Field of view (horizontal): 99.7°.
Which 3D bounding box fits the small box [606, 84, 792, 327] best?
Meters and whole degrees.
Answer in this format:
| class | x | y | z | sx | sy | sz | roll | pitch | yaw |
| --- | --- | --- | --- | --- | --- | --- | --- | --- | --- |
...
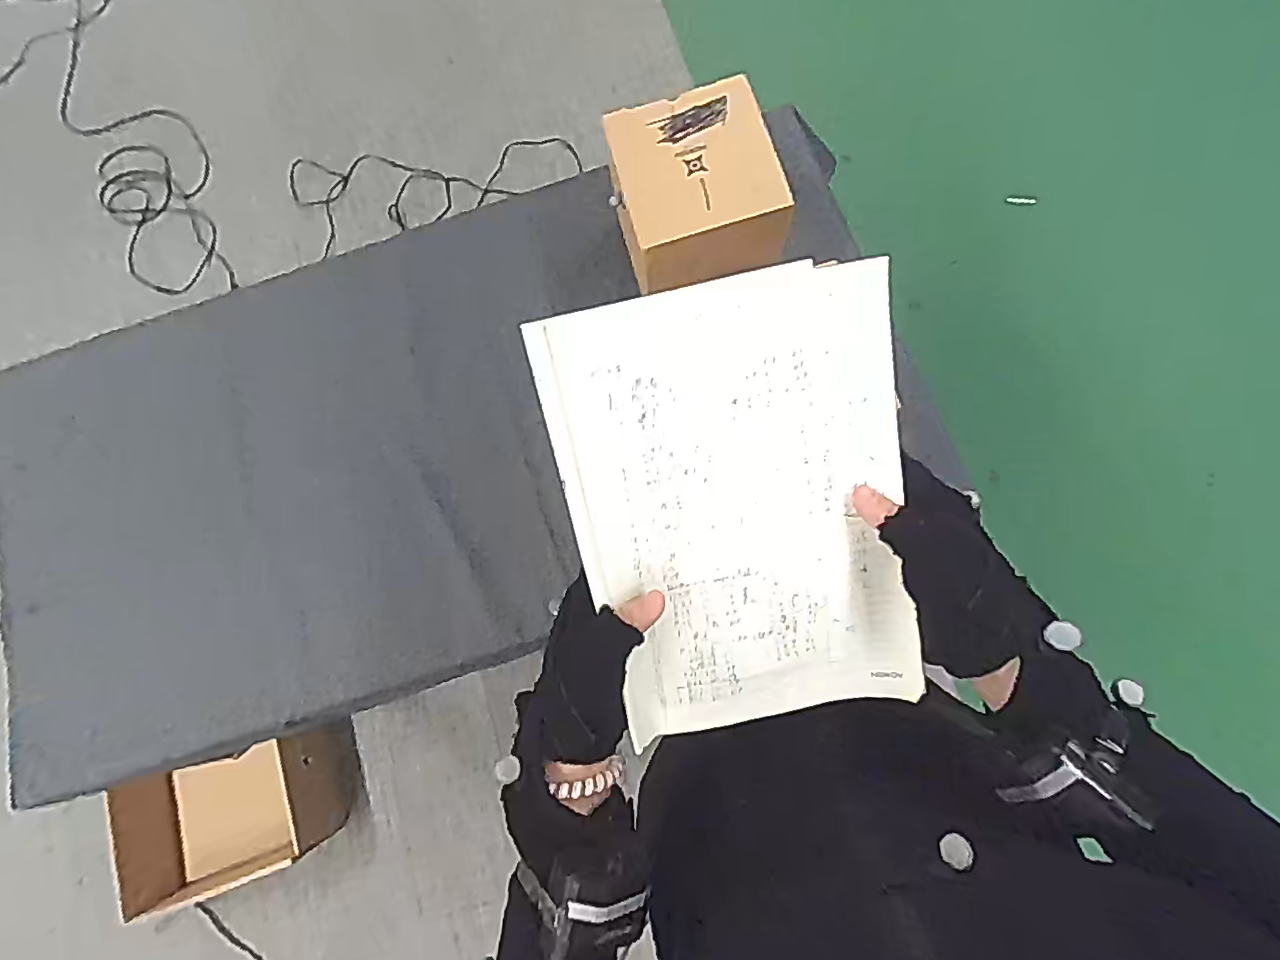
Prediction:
| class | x | y | z | sx | sy | sz | roll | pitch | yaw |
| --- | --- | --- | --- | --- | --- | --- | --- | --- | --- |
| small box | 0.065 | -0.318 | 0.655 | 0.168 | 0.176 | 0.179 | -16 | 77 | 2 |
